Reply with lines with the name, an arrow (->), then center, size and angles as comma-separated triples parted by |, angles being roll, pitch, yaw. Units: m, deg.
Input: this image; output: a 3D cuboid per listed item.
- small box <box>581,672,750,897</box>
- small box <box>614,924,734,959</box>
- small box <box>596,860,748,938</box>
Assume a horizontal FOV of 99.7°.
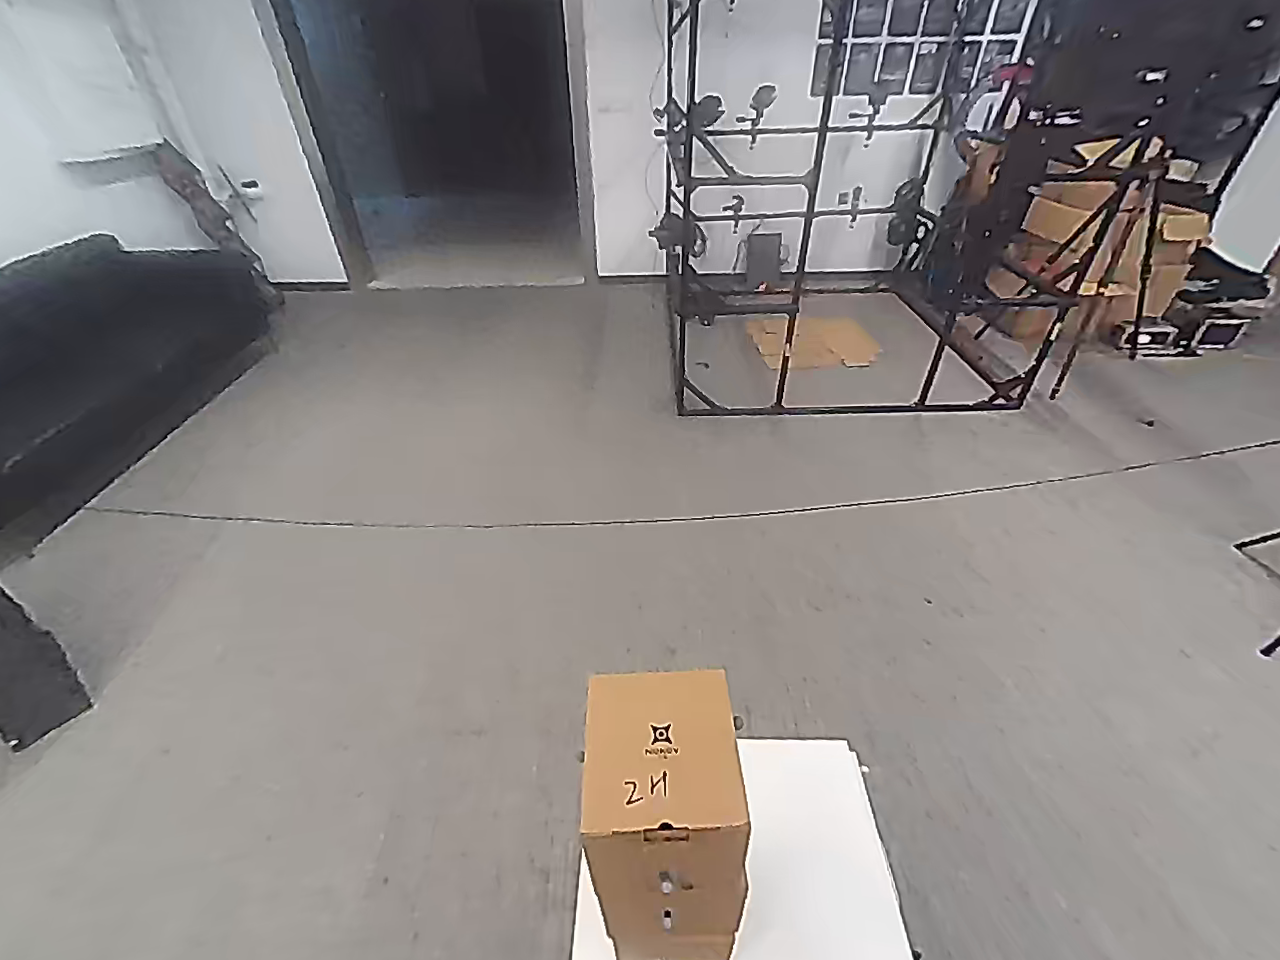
small box -> 0.026, 0.348, 0.628 | 0.168, 0.176, 0.179 | -3, 36, 1
small box -> 0.047, 0.614, 0.821 | 0.168, 0.176, 0.179 | 1, 37, 3
small box -> 0.038, 0.483, 0.722 | 0.179, 0.176, 0.168 | -3, 36, 0
